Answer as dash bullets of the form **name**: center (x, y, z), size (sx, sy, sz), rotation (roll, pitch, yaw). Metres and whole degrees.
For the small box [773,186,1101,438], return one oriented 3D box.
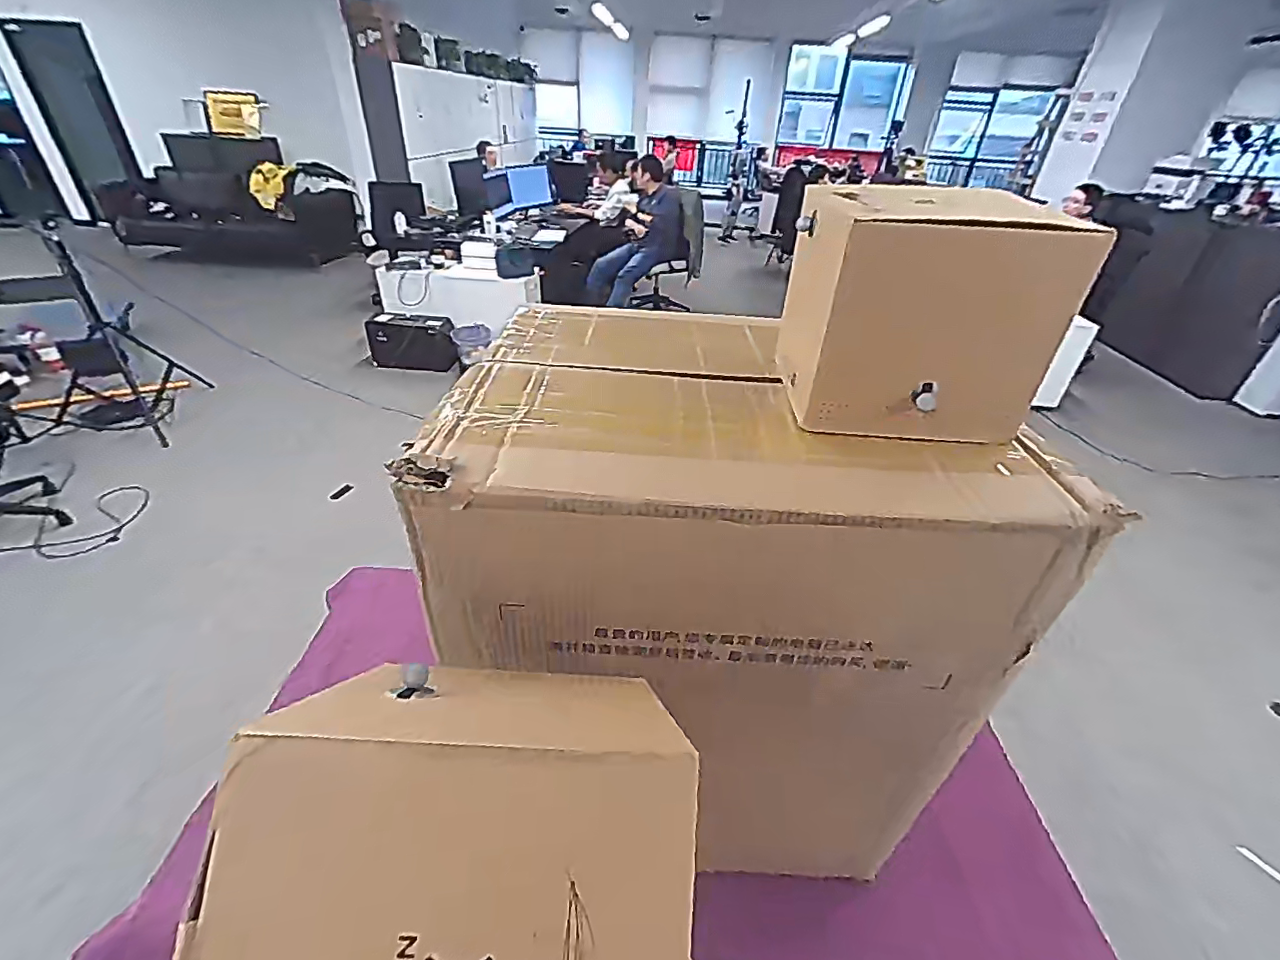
- **small box**: center (0.229, -0.150, 0.477), size (0.179, 0.176, 0.168), rotation (4, 34, 1)
